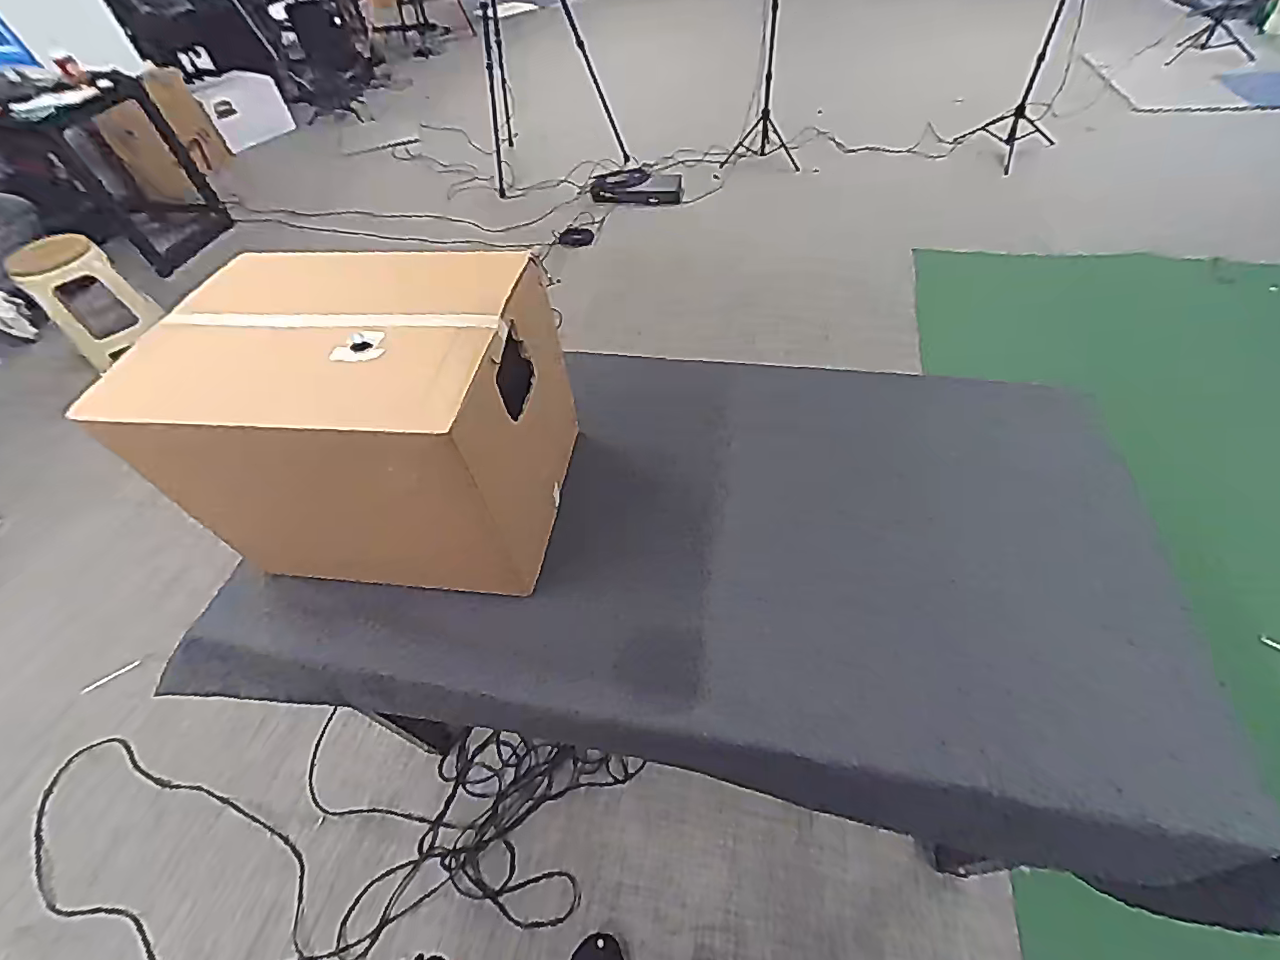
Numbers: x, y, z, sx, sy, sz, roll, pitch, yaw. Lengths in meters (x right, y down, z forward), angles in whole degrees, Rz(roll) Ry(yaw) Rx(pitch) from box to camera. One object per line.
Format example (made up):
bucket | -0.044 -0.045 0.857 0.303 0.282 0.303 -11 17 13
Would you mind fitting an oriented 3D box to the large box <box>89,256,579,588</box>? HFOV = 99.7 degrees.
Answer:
large box | -0.321 -0.075 0.714 0.408 0.320 0.320 4 52 7
